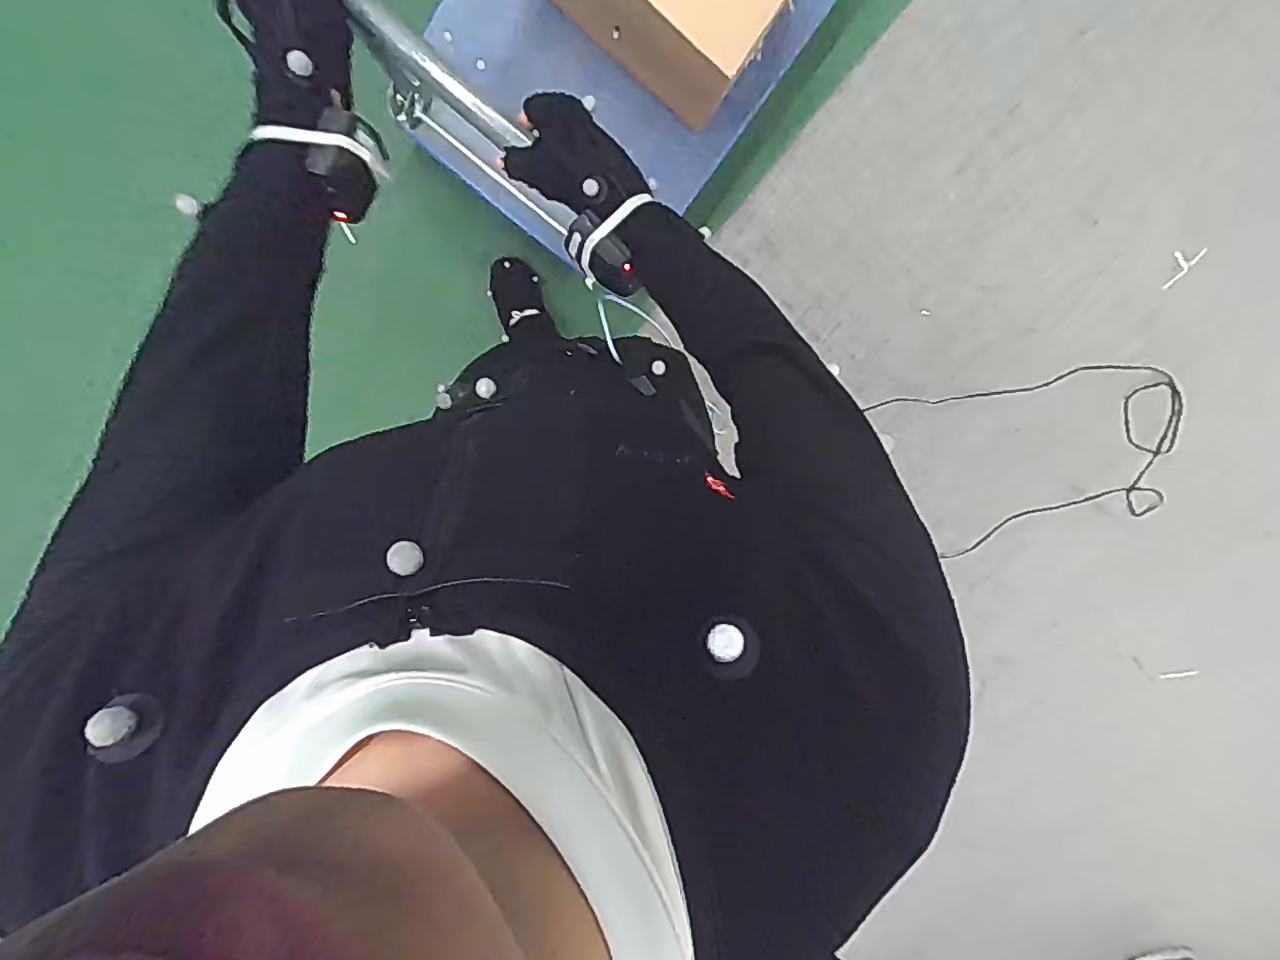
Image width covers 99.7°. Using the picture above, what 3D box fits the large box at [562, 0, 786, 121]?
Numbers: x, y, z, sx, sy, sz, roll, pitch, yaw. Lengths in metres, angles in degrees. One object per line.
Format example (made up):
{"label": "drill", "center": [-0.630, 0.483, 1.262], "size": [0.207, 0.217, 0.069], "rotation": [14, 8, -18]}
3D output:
{"label": "large box", "center": [0.061, -0.879, 0.860], "size": [0.408, 0.320, 0.320], "rotation": [34, 105, -14]}
